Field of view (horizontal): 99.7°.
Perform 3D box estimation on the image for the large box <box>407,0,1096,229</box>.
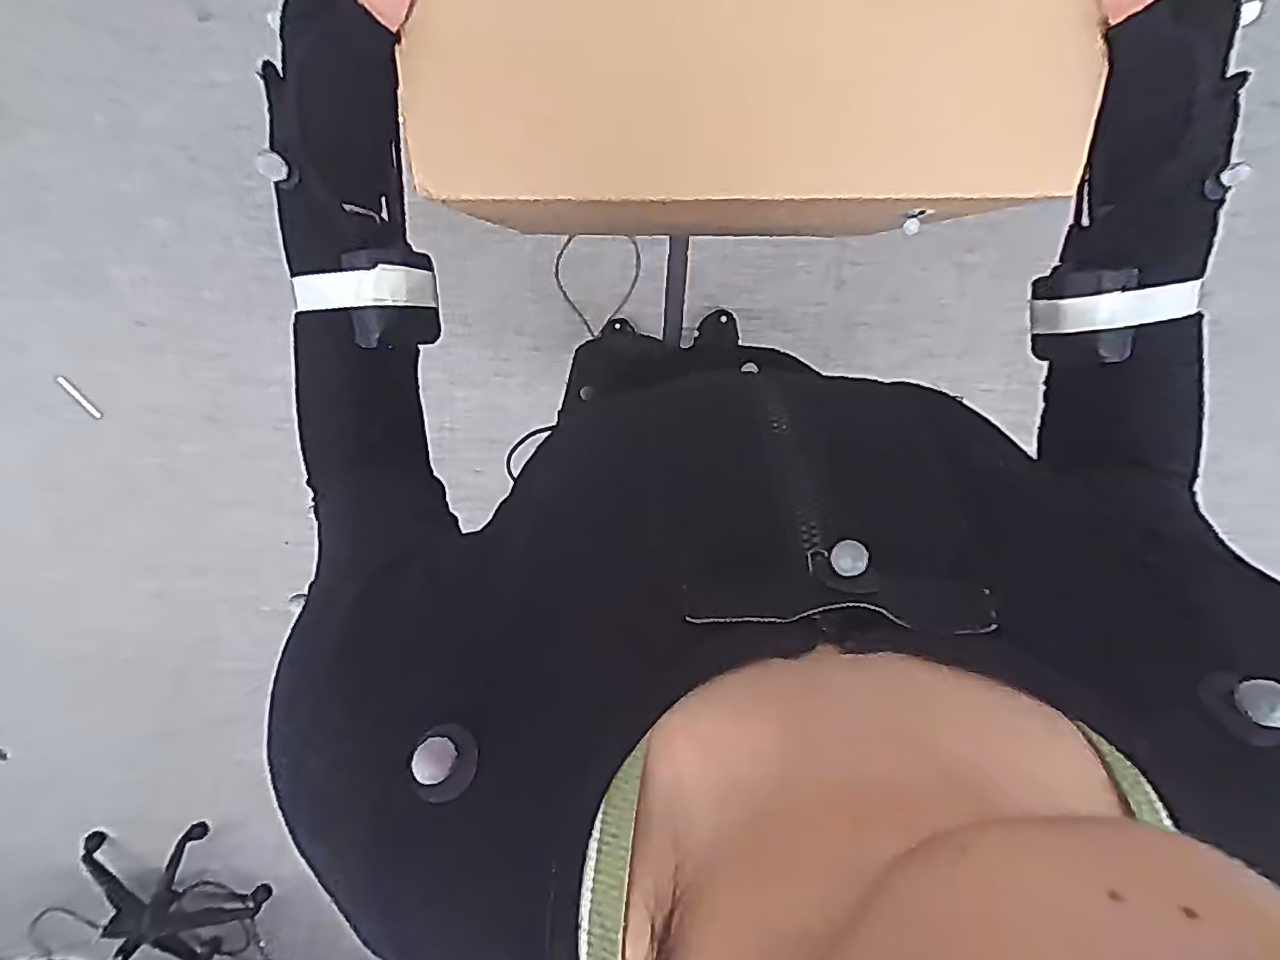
[{"bbox_3d":[0.066,-0.378,0.429,0.408,0.320,0.320,0,111,0],"label":"large box"}]
